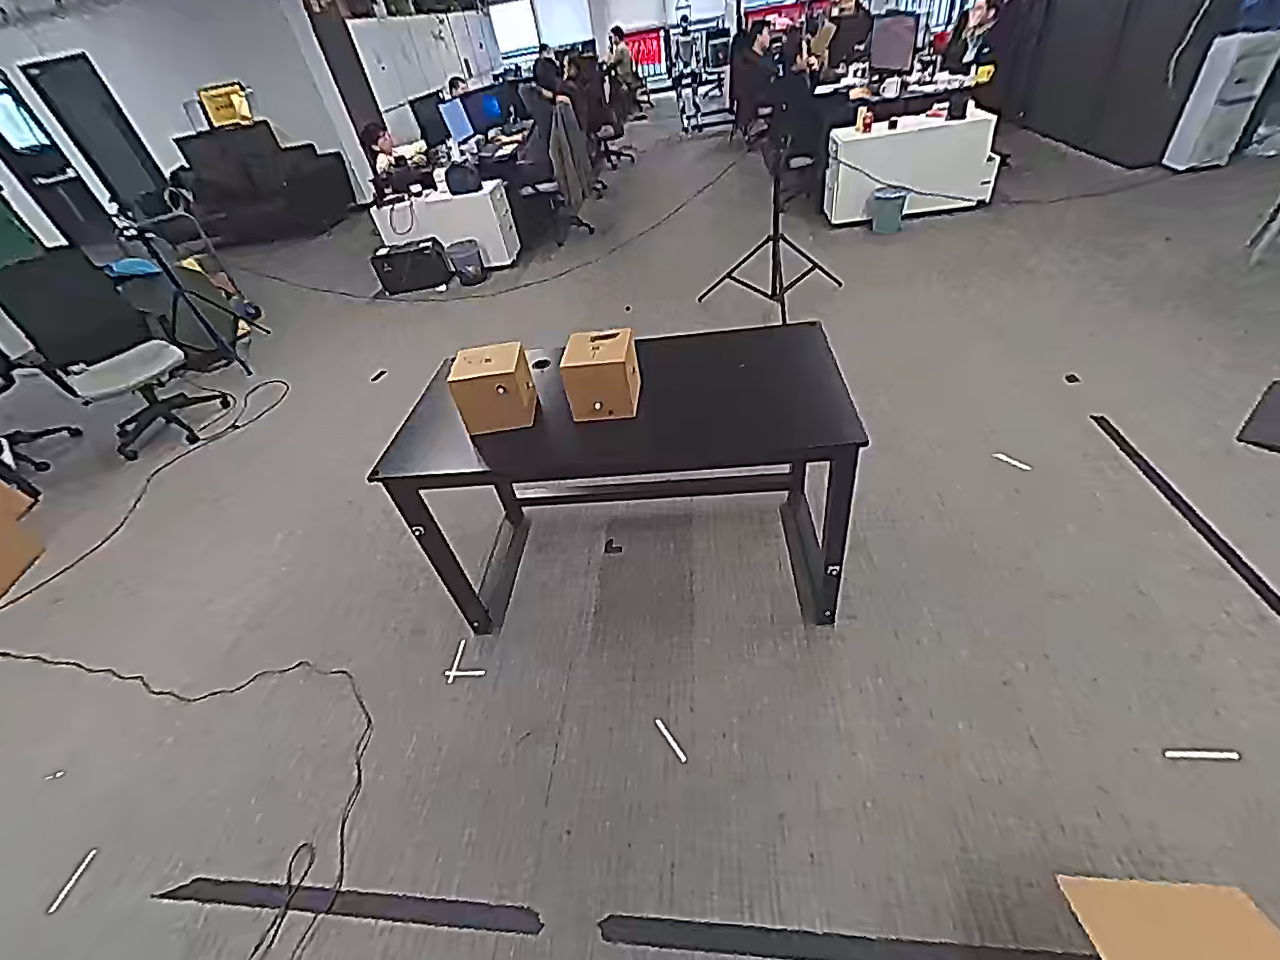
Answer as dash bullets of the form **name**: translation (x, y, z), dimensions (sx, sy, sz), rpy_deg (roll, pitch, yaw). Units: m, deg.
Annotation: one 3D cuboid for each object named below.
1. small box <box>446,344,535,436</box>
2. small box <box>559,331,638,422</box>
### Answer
- **small box**: translation (-0.387, -0.239, 1.443), dimensions (0.179, 0.176, 0.168), rpy_deg (-9, 41, 3)
- **small box**: translation (-0.100, -0.270, 1.417), dimensions (0.168, 0.176, 0.179), rpy_deg (-3, 42, 9)
